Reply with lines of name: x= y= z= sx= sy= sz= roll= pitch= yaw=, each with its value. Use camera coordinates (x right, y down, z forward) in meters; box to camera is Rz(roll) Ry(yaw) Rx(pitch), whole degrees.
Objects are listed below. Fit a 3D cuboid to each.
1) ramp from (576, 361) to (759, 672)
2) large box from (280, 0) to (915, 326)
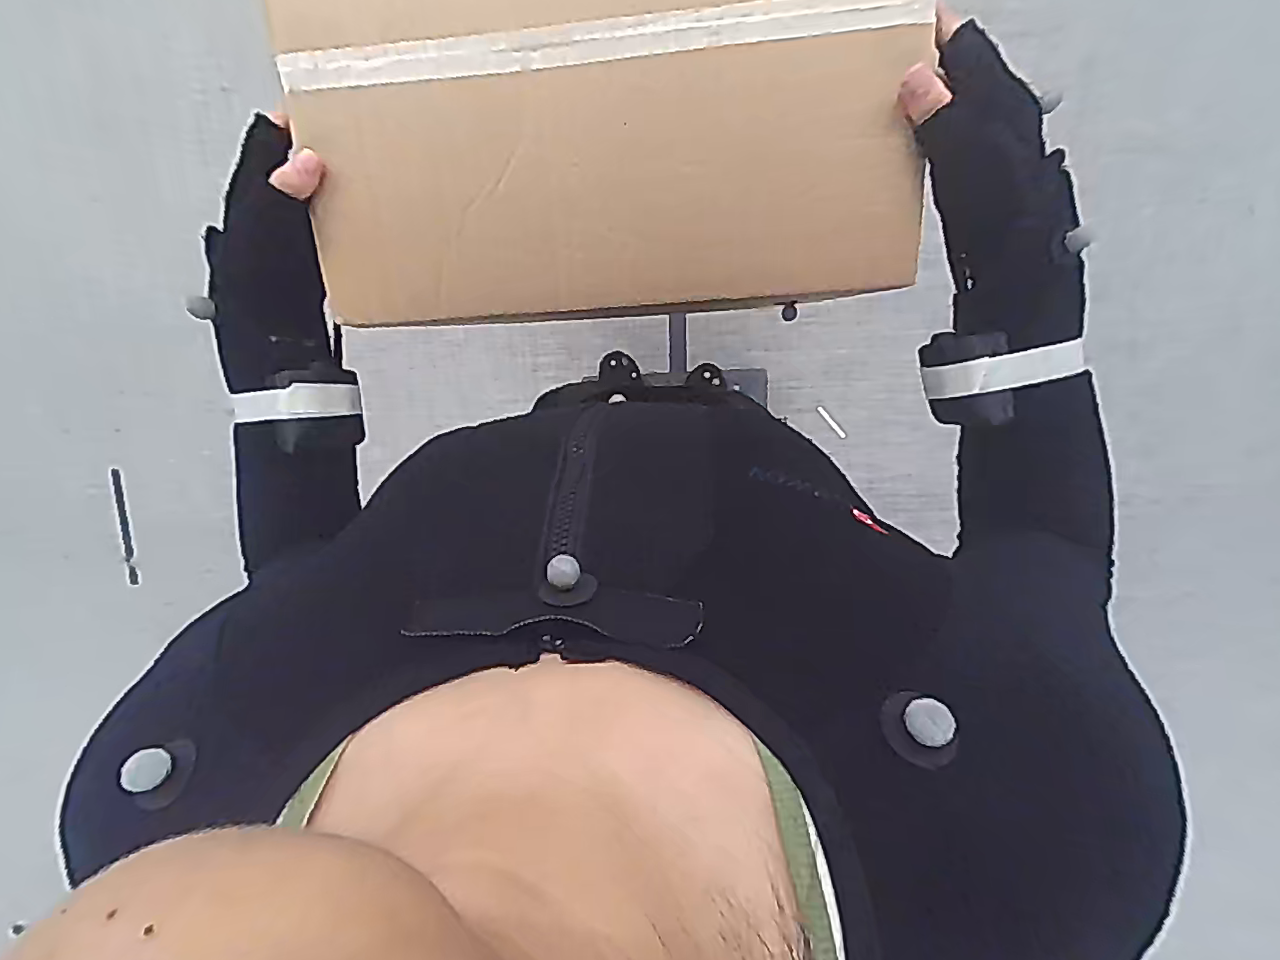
ramp: x=0.098 y=0.160 z=1.599 sx=0.509 sy=0.206 sz=0.991 roll=-4 pitch=101 yaw=3
large box: x=-0.021 y=-0.315 z=0.486 sx=0.408 sy=0.320 sz=0.320 roll=-3 pitch=106 yaw=3
